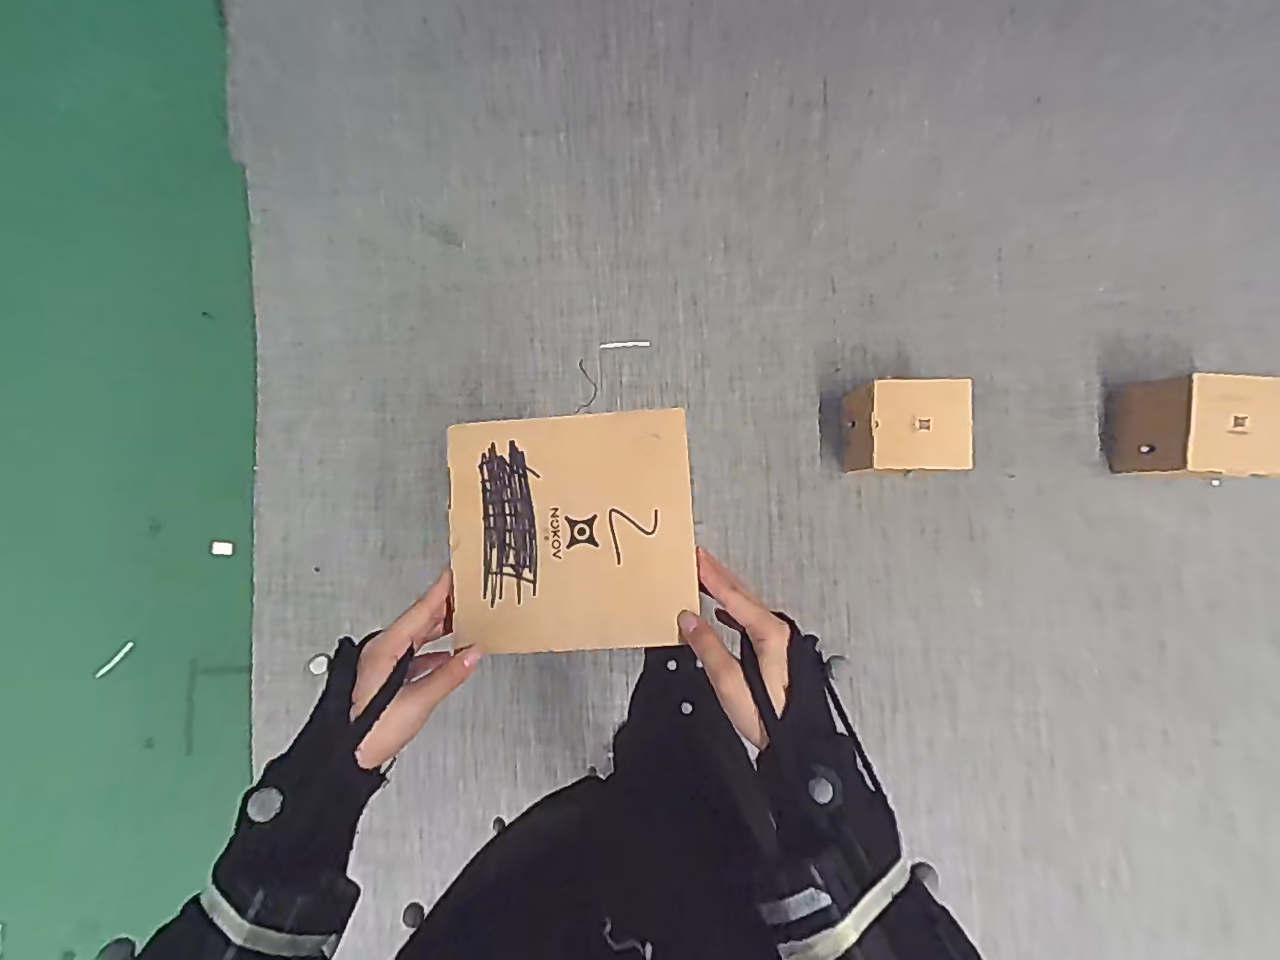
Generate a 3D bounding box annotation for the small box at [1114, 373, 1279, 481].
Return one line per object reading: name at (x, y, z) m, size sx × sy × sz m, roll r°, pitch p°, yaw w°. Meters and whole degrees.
small box at (1.034, -0.091, 1.006) m, size 0.168 × 0.176 × 0.179 m, roll 4°, pitch 88°, yaw 4°

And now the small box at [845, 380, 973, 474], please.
small box at (0.512, -0.097, 1.049) m, size 0.179 × 0.176 × 0.168 m, roll 0°, pitch 89°, yaw 5°
